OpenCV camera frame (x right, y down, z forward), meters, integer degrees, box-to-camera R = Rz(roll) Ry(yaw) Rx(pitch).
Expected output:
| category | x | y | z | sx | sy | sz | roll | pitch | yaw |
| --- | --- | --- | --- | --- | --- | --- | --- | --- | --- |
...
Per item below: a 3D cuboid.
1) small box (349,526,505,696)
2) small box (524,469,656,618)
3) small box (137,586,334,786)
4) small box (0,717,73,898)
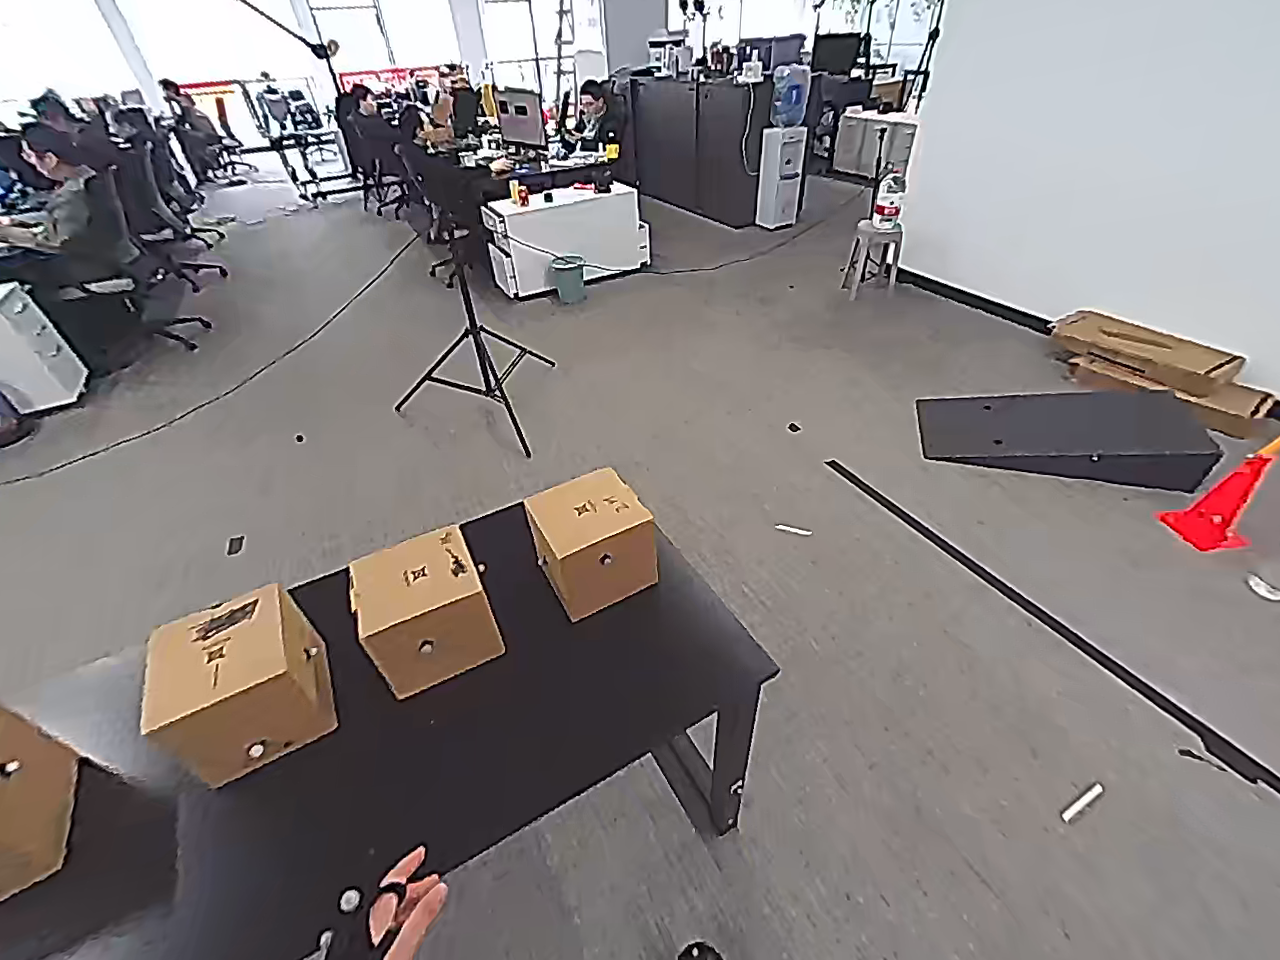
| category | x | y | z | sx | sy | sz | roll | pitch | yaw |
| --- | --- | --- | --- | --- | --- | --- | --- | --- | --- |
| small box | -0.337 | 0.210 | 0.867 | 0.179 | 0.176 | 0.168 | -21 | 43 | -19 |
| small box | -0.083 | 0.114 | 0.961 | 0.179 | 0.176 | 0.168 | -22 | 43 | -20 |
| small box | -0.568 | 0.294 | 0.780 | 0.168 | 0.176 | 0.179 | -23 | 44 | -21 |
| small box | -0.849 | 0.418 | 0.653 | 0.168 | 0.176 | 0.179 | -23 | 43 | -24 |
